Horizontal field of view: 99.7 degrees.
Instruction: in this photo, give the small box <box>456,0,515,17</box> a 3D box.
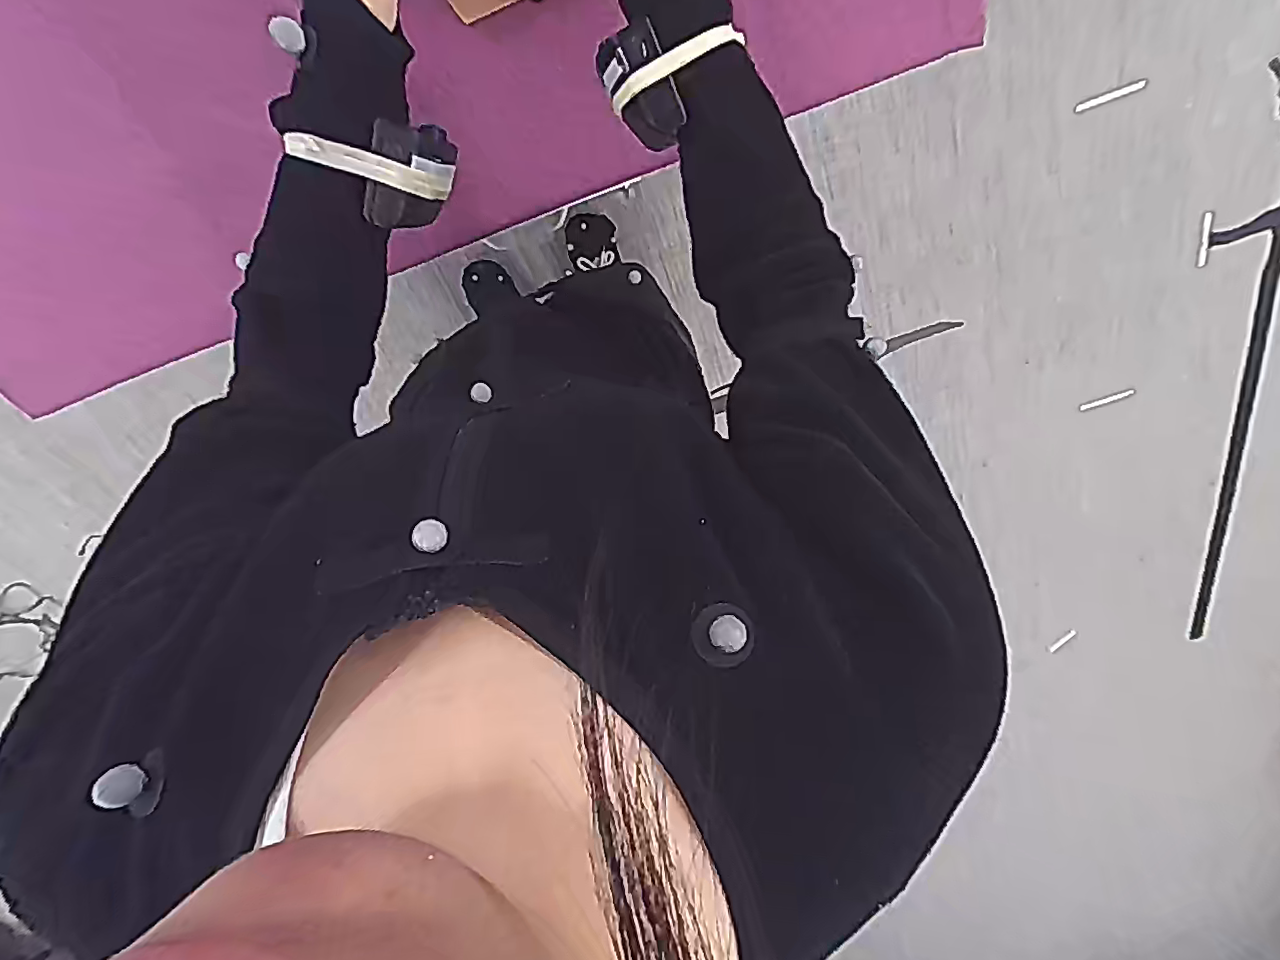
[{"bbox_3d":[-0.121,-0.513,0.419,0.168,0.176,0.179,-19,119,6],"label":"small box"}]
